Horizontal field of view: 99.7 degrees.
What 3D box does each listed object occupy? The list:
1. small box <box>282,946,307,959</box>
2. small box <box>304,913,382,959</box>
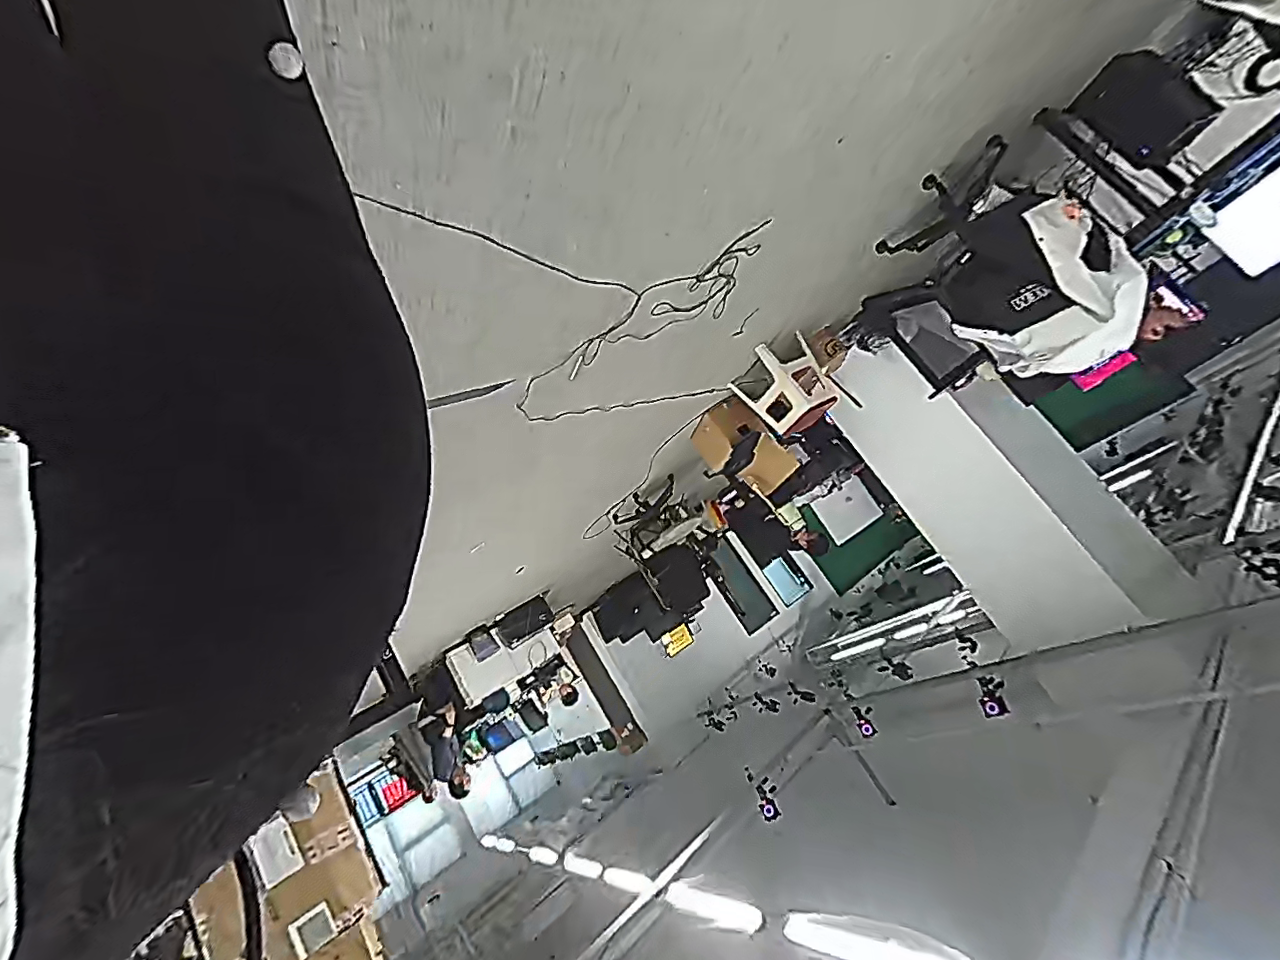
[{"bbox_3d":[-1.156,1.661,1.737,0.168,0.176,0.179,-22,162,-30],"label":"small box"},{"bbox_3d":[-0.915,1.492,1.676,0.168,0.176,0.179,-23,161,-29],"label":"small box"}]
